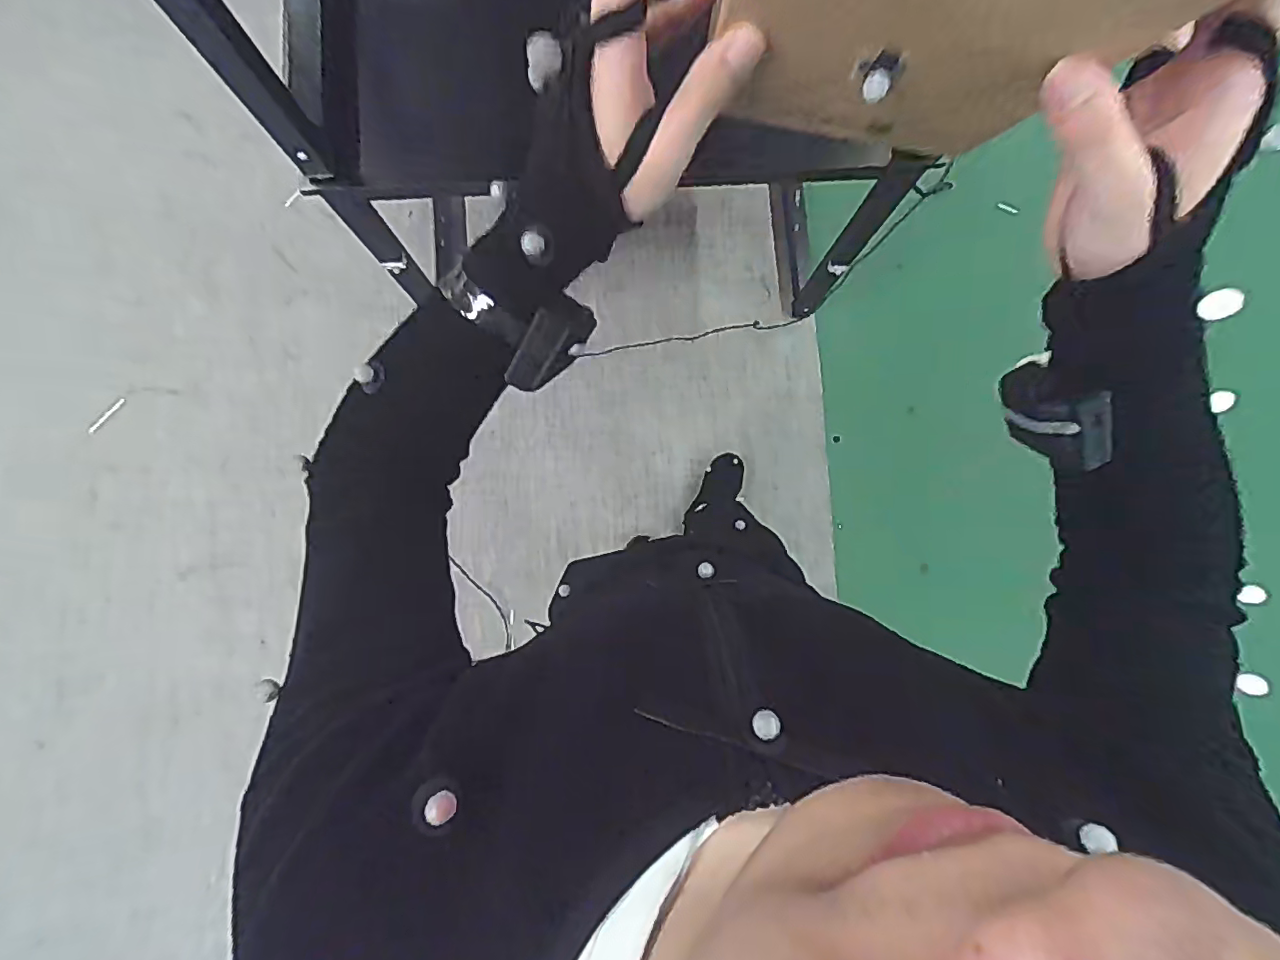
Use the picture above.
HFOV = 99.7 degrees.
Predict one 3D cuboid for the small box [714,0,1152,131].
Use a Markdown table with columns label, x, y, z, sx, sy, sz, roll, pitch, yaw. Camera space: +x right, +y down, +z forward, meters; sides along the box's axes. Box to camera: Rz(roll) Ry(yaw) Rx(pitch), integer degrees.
| label | x | y | z | sx | sy | sz | roll | pitch | yaw |
| --- | --- | --- | --- | --- | --- | --- | --- | --- | --- |
| small box | 0.132 | -0.275 | 0.216 | 0.168 | 0.176 | 0.179 | 9 | 103 | -3 |
